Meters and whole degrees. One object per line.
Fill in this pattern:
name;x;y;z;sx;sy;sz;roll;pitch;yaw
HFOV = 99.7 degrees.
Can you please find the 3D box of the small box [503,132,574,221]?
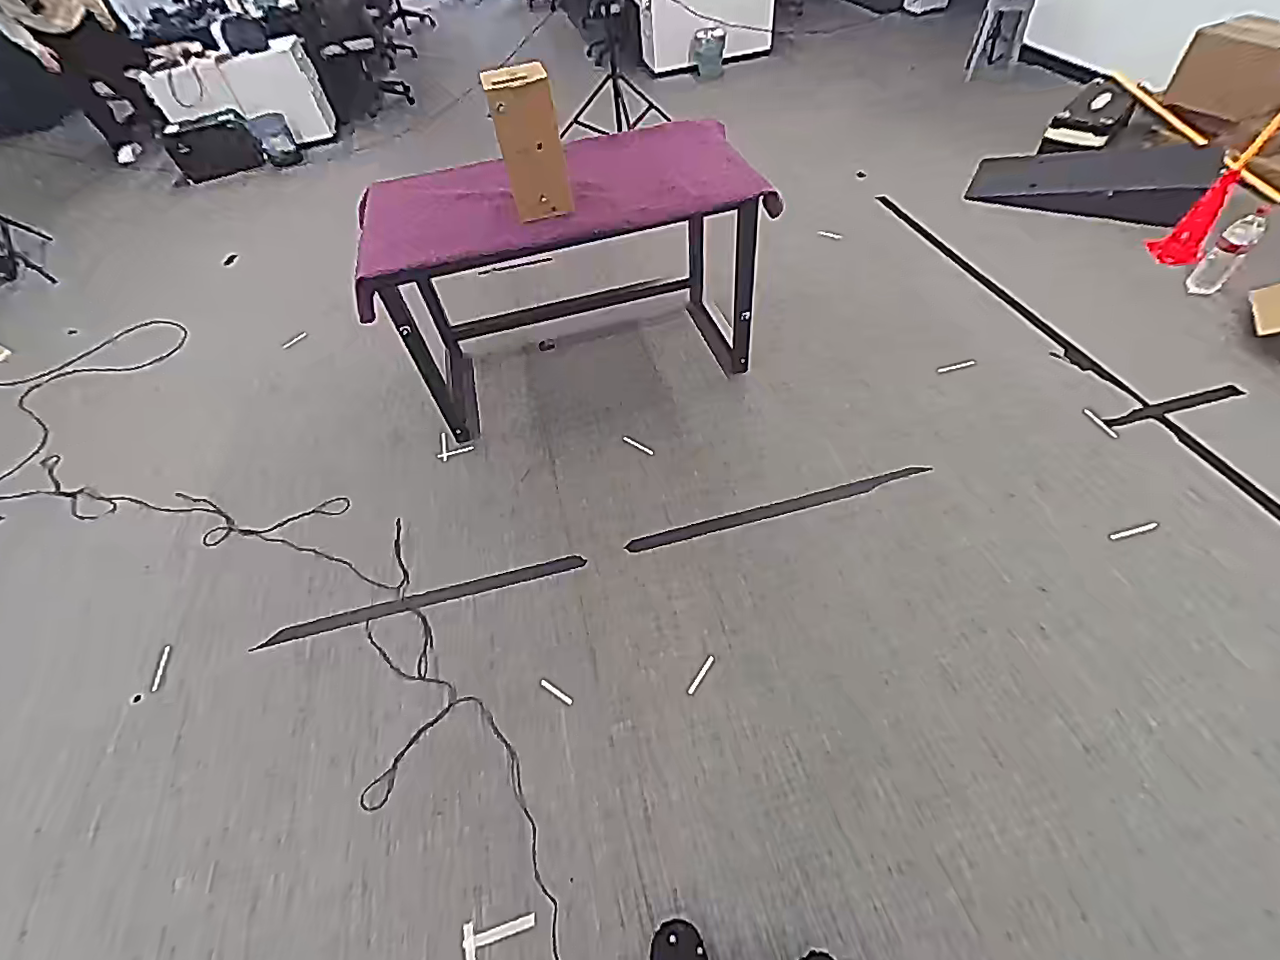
small box;-0.298;-0.891;1.594;0.168;0.176;0.179;-13;51;-3
